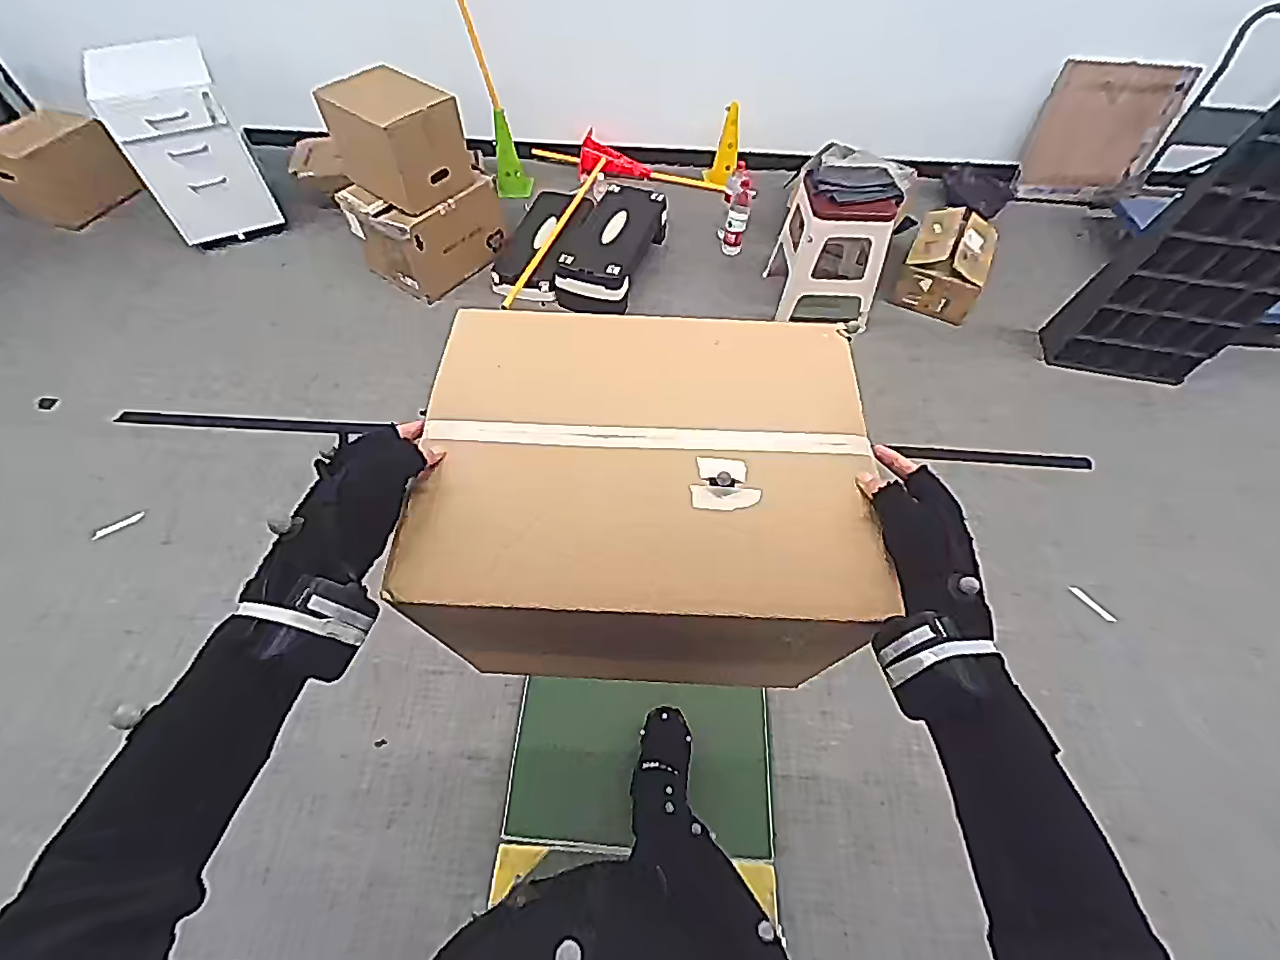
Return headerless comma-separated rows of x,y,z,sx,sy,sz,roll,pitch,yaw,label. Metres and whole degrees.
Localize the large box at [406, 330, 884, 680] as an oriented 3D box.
0.003,0.048,0.644,0.408,0.320,0.320,3,60,-1,large box
